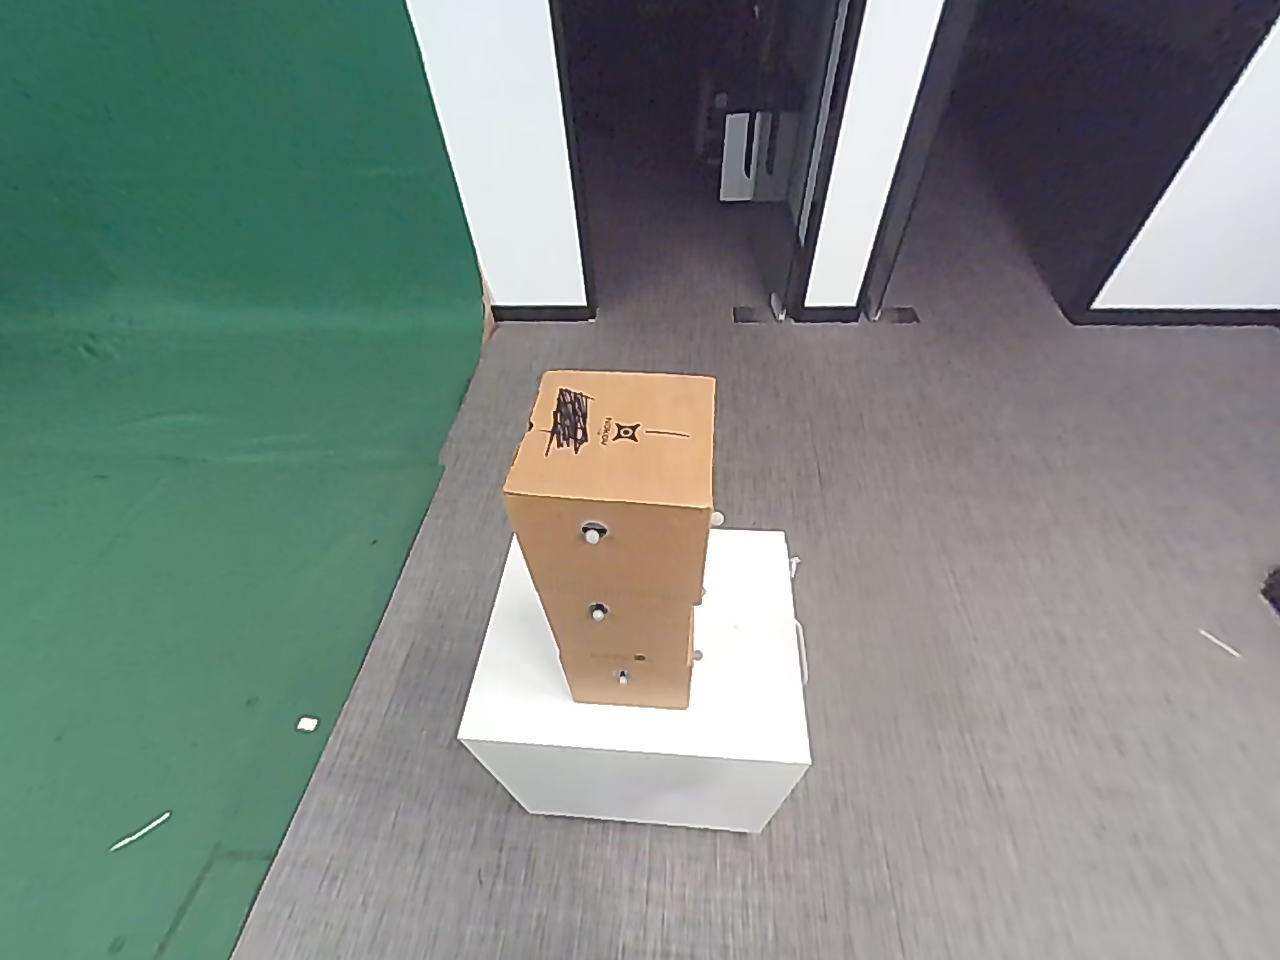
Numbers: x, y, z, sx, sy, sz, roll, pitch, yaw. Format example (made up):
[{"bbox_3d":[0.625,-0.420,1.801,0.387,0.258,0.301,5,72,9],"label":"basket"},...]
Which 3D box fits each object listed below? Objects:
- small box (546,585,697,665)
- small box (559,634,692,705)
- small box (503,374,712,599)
[{"bbox_3d":[-0.015,0.115,0.690,0.168,0.176,0.179,2,50,3],"label":"small box"},{"bbox_3d":[-0.011,0.224,0.810,0.179,0.176,0.168,2,49,4],"label":"small box"},{"bbox_3d":[-0.019,0.009,0.561,0.179,0.176,0.168,4,50,6],"label":"small box"}]
